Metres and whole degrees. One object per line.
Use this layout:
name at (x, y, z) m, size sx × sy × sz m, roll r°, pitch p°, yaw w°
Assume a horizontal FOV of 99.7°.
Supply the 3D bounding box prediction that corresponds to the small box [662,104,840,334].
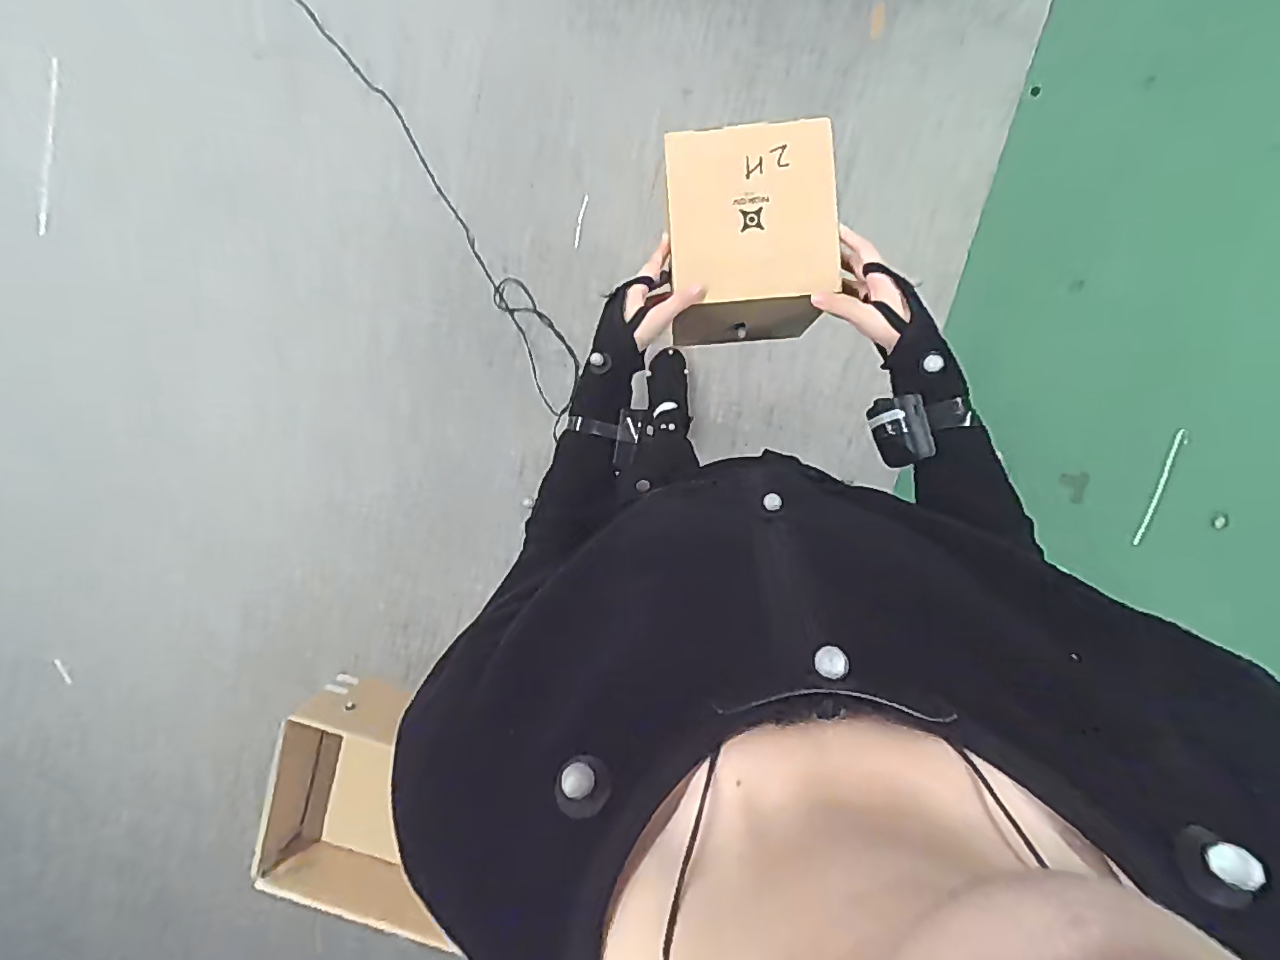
small box at (0.112, -0.267, 0.599) m, size 0.168 × 0.176 × 0.179 m, roll -3°, pitch 89°, yaw 3°
